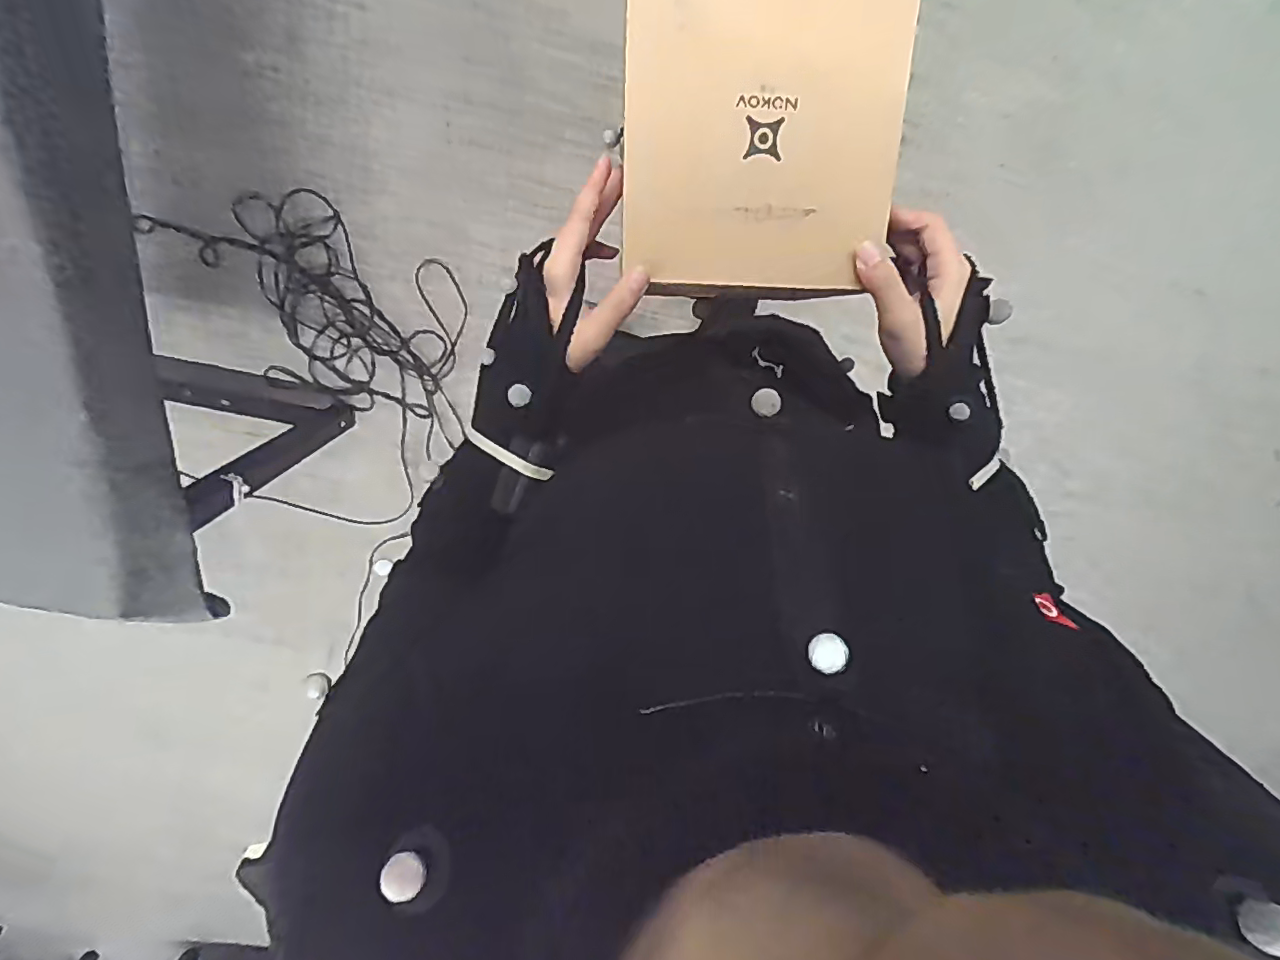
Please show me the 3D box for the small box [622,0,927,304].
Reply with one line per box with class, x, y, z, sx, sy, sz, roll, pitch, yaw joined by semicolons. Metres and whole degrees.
small box;0.073;-0.227;0.395;0.168;0.176;0.179;2;107;-3
